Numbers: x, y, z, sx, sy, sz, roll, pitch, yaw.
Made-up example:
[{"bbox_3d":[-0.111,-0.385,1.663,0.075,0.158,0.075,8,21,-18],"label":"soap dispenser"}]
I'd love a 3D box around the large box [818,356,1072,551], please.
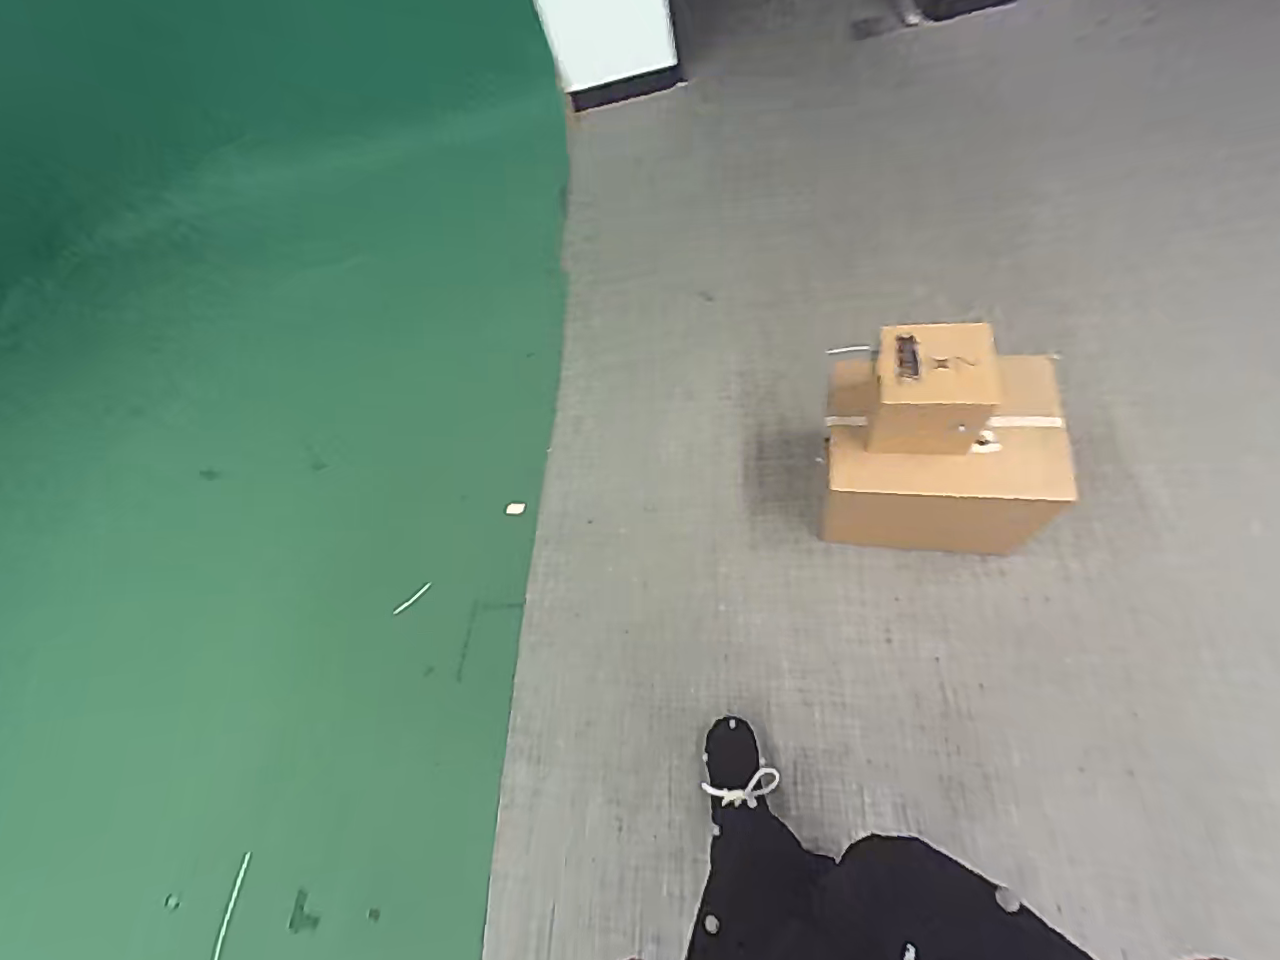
[{"bbox_3d":[0.608,-0.044,1.174,0.408,0.320,0.320,2,66,15],"label":"large box"}]
